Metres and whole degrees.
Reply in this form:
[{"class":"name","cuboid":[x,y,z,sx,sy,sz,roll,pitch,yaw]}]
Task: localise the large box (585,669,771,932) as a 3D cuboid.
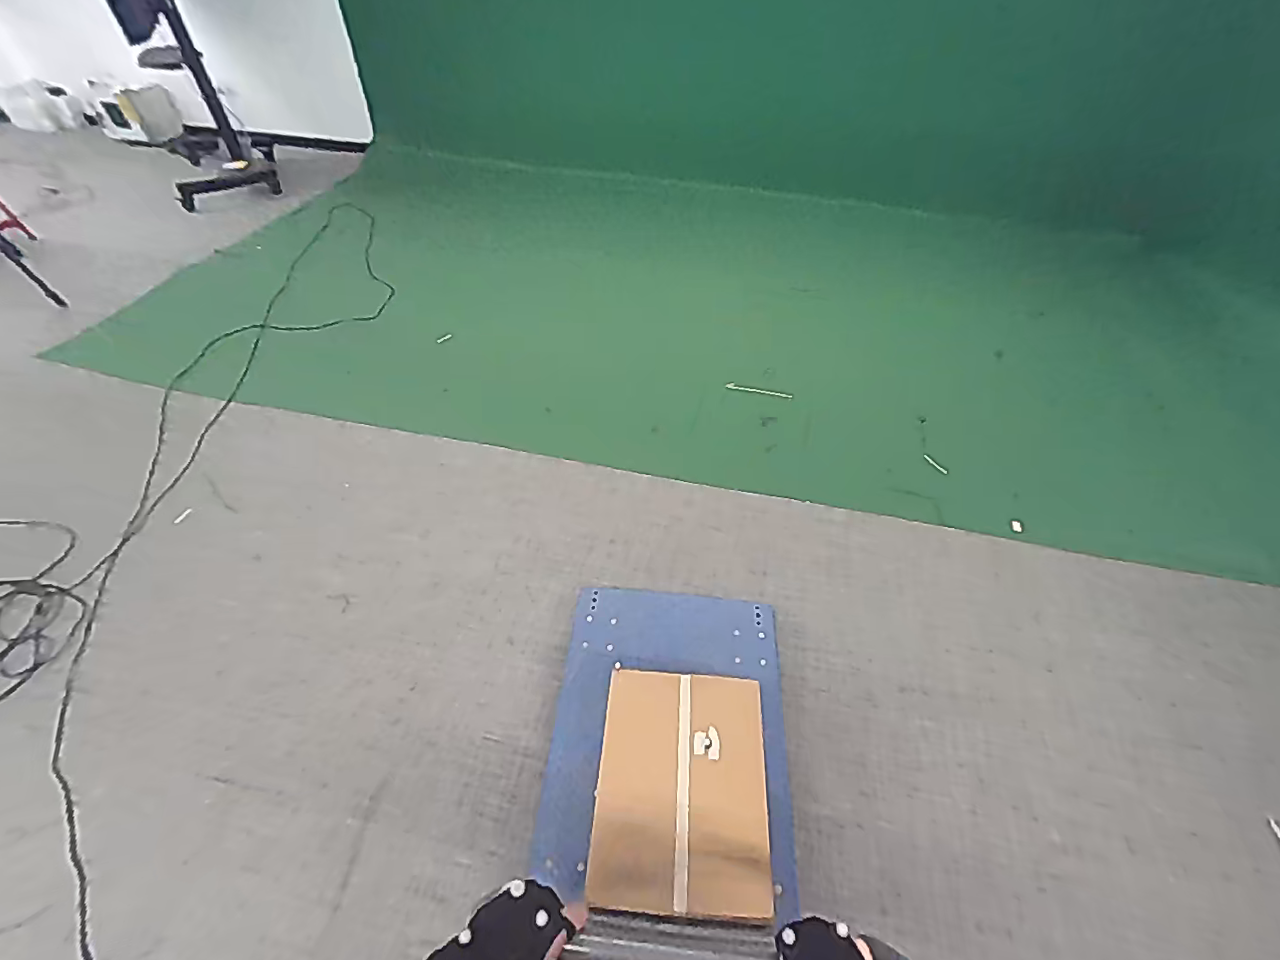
[{"class":"large box","cuboid":[0.075,0.660,1.122,0.320,0.320,0.408,5,47,3]}]
